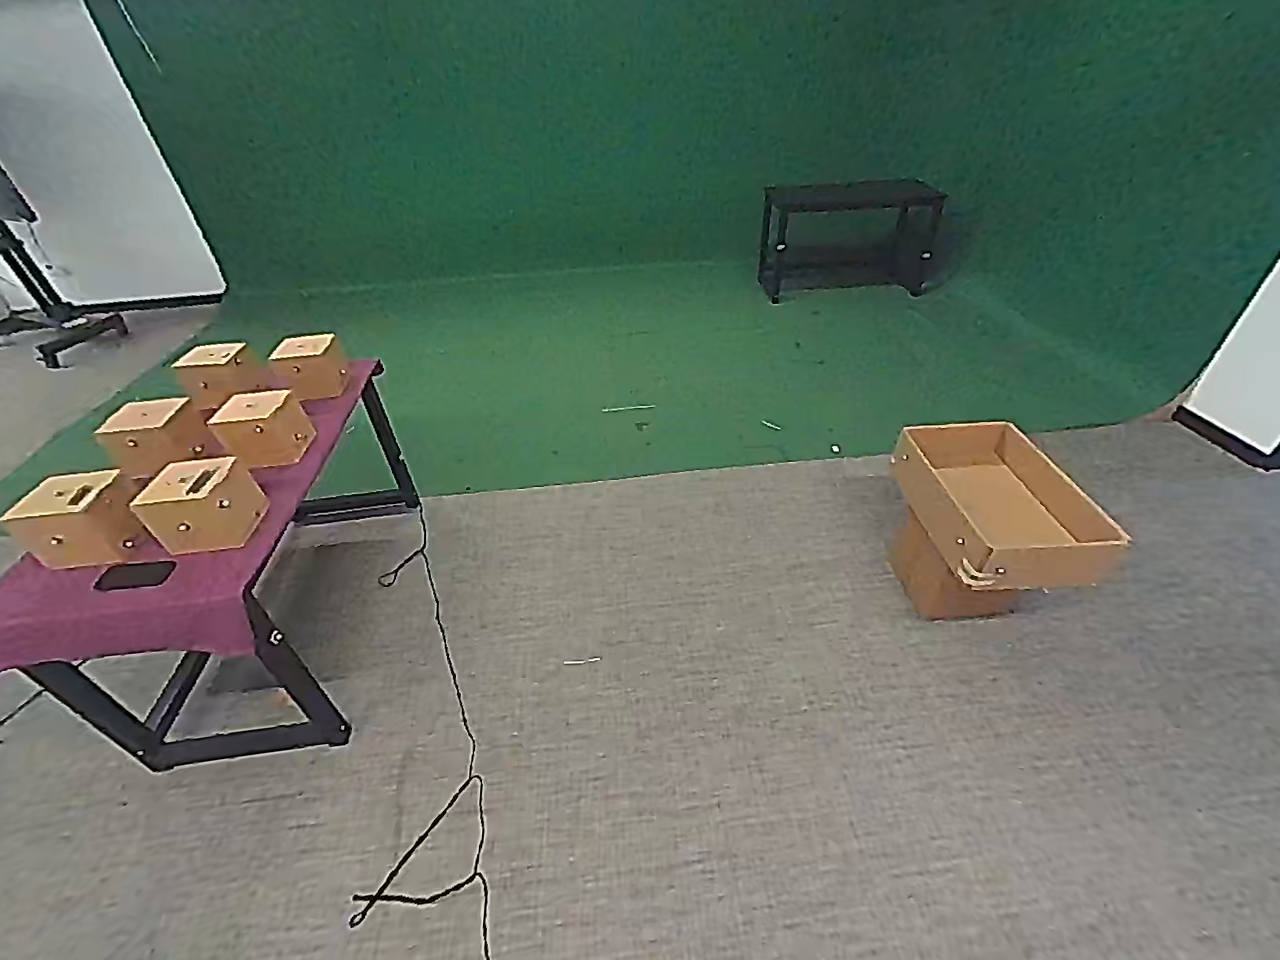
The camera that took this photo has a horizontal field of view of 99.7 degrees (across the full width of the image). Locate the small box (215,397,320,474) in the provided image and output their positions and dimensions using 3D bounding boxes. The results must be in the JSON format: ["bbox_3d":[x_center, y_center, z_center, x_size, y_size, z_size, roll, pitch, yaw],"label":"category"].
[{"bbox_3d":[-1.116,-0.132,1.637,0.179,0.176,0.168,-7,39,-2],"label":"small box"}]

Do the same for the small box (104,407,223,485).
[{"bbox_3d":[-1.421,-0.100,1.628,0.179,0.176,0.168,-7,39,-4],"label":"small box"}]

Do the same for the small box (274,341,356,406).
[{"bbox_3d":[-1.160,-0.380,1.943,0.179,0.176,0.168,-7,40,-4],"label":"small box"}]

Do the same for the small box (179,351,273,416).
[{"bbox_3d":[-1.467,-0.342,1.930,0.179,0.176,0.168,-6,40,-2],"label":"small box"}]

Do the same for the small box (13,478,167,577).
[{"bbox_3d":[-1.348,0.119,1.345,0.179,0.176,0.168,-8,39,-4],"label":"small box"}]
